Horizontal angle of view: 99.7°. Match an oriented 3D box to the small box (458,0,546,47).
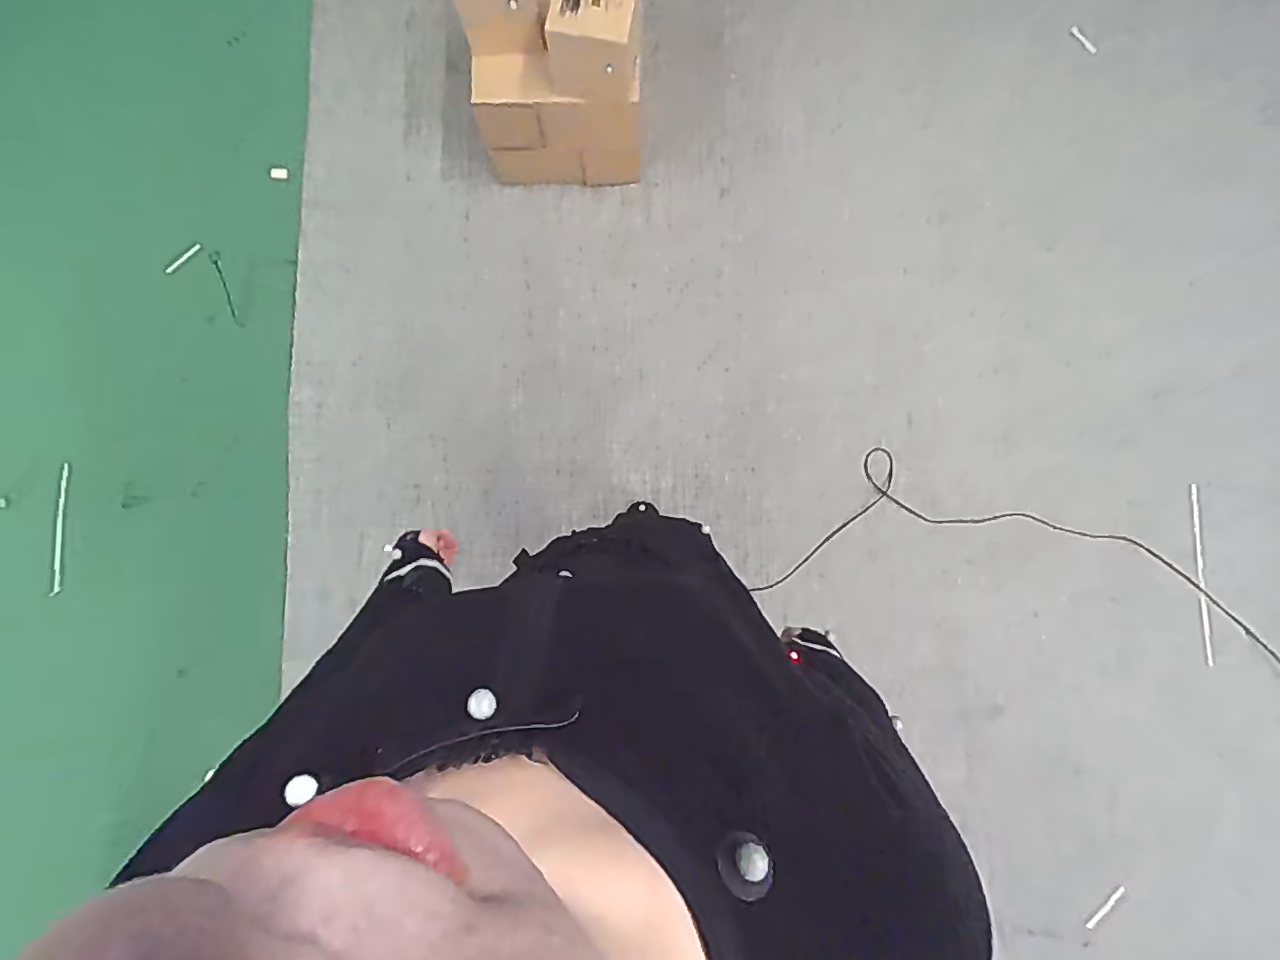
[{"bbox_3d":[-0.306,-1.110,1.203,0.179,0.176,0.168,-1,84,1],"label":"small box"}]
